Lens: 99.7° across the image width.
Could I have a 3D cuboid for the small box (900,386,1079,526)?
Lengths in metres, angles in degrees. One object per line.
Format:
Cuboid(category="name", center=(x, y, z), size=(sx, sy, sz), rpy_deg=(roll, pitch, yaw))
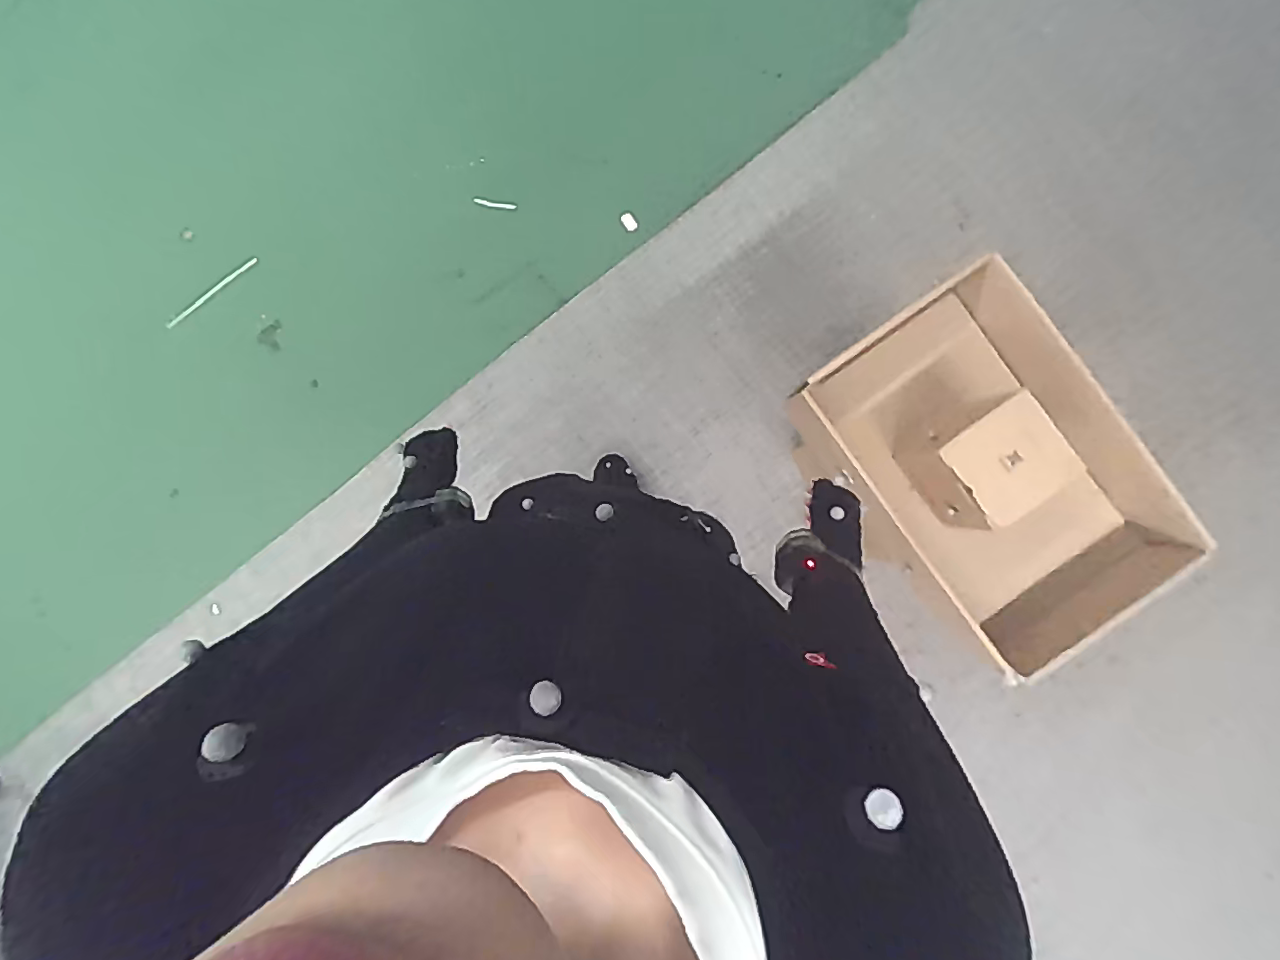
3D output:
Cuboid(category="small box", center=(0.592, -0.036, 0.948), size=(0.179, 0.176, 0.168), rpy_deg=(-37, 90, -1))
